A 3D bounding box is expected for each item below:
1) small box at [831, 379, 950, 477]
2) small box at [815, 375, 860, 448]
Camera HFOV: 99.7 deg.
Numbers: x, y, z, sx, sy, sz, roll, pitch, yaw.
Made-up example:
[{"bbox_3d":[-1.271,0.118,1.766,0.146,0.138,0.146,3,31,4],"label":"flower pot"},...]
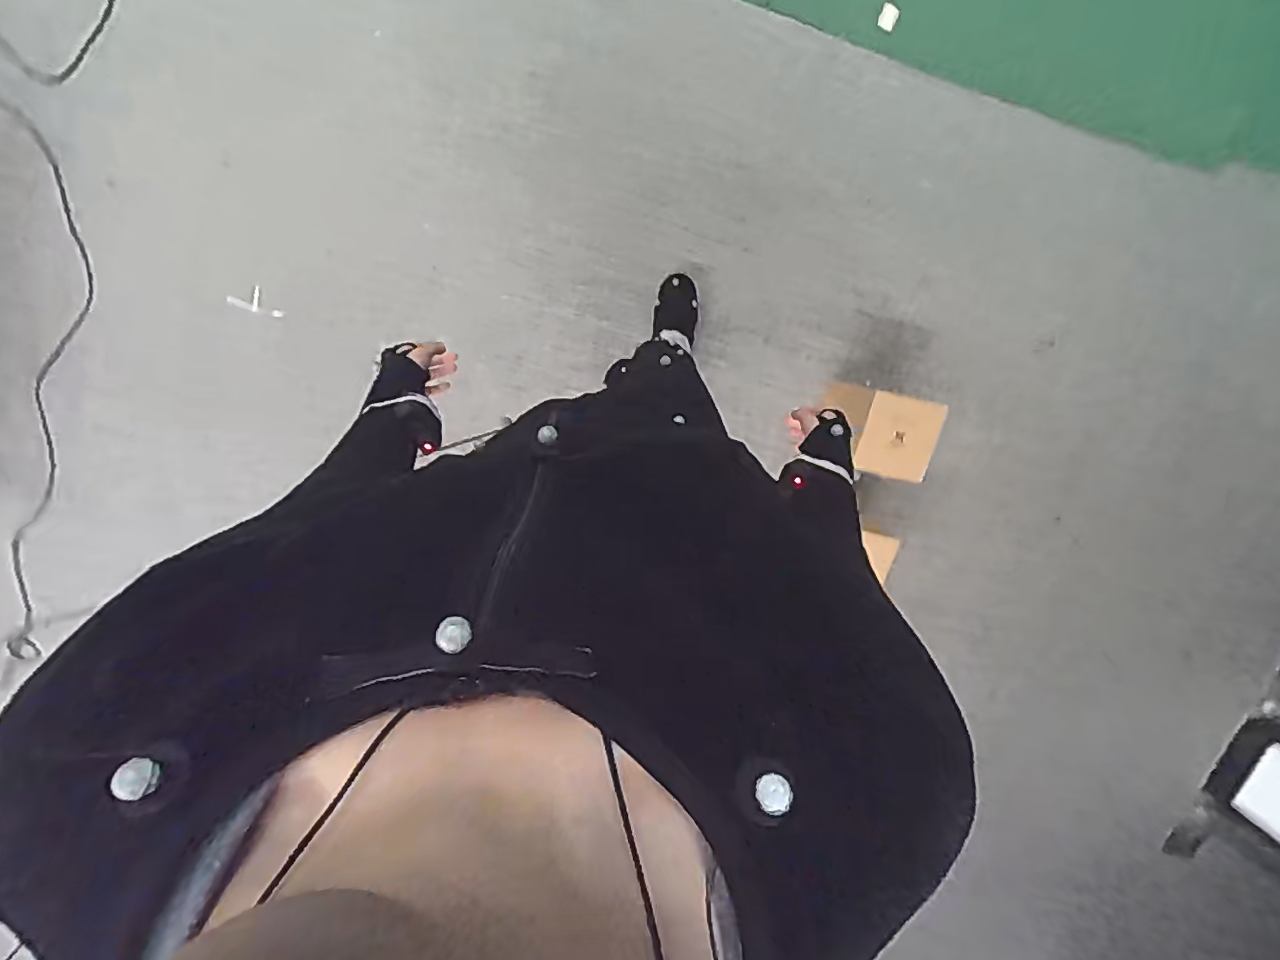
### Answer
[{"bbox_3d":[0.558,-0.125,1.236,0.168,0.176,0.179,14,103,-3],"label":"small box"},{"bbox_3d":[0.571,-0.165,1.394,0.168,0.176,0.179,13,103,-3],"label":"small box"}]
